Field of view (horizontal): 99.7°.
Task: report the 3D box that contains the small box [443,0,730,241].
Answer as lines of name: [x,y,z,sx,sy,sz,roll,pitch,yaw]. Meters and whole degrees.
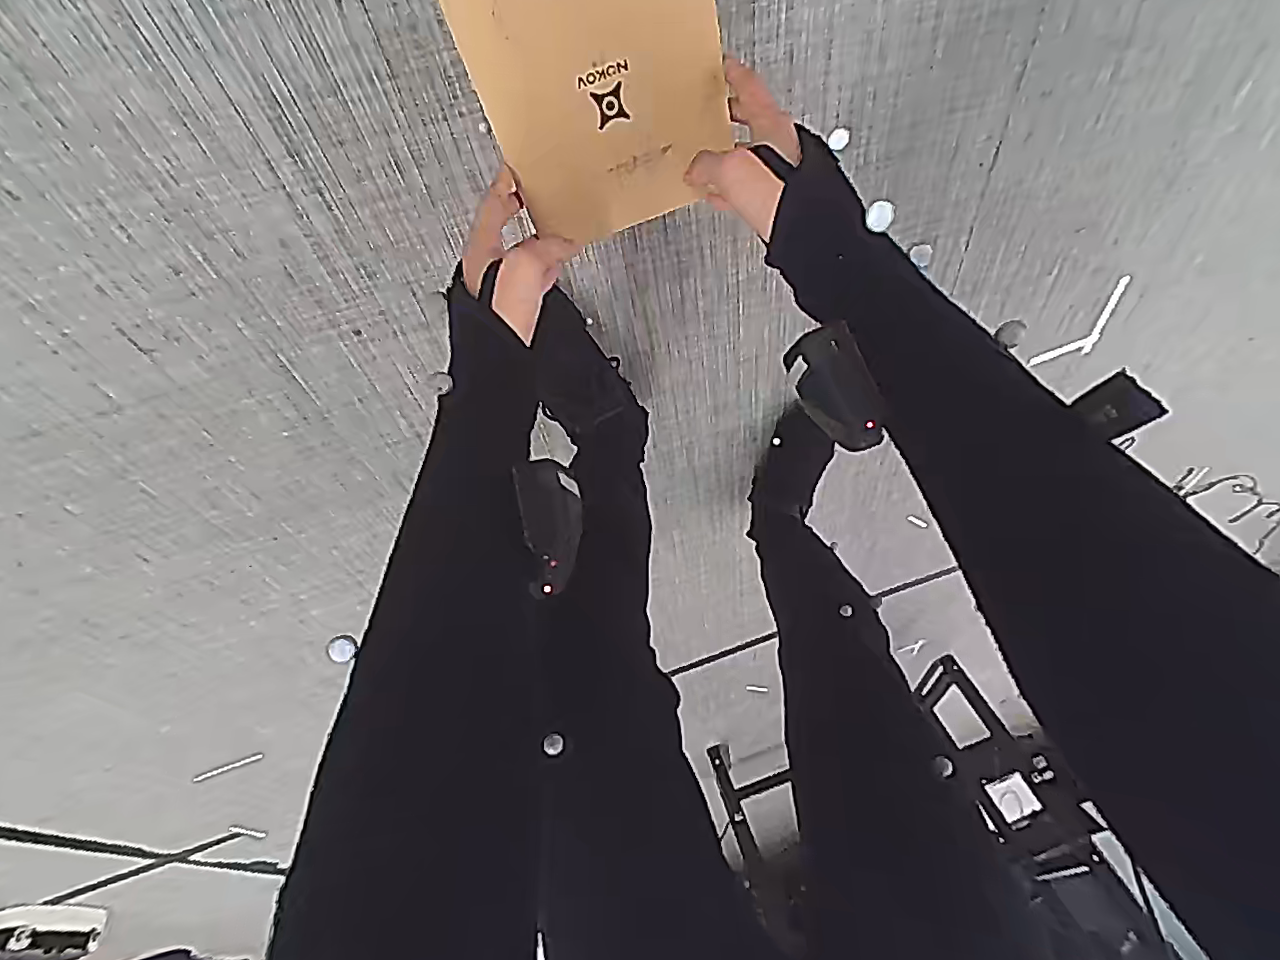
small box: [-0.043,-0.329,0.428,0.168,0.176,0.179,-19,136,4]
